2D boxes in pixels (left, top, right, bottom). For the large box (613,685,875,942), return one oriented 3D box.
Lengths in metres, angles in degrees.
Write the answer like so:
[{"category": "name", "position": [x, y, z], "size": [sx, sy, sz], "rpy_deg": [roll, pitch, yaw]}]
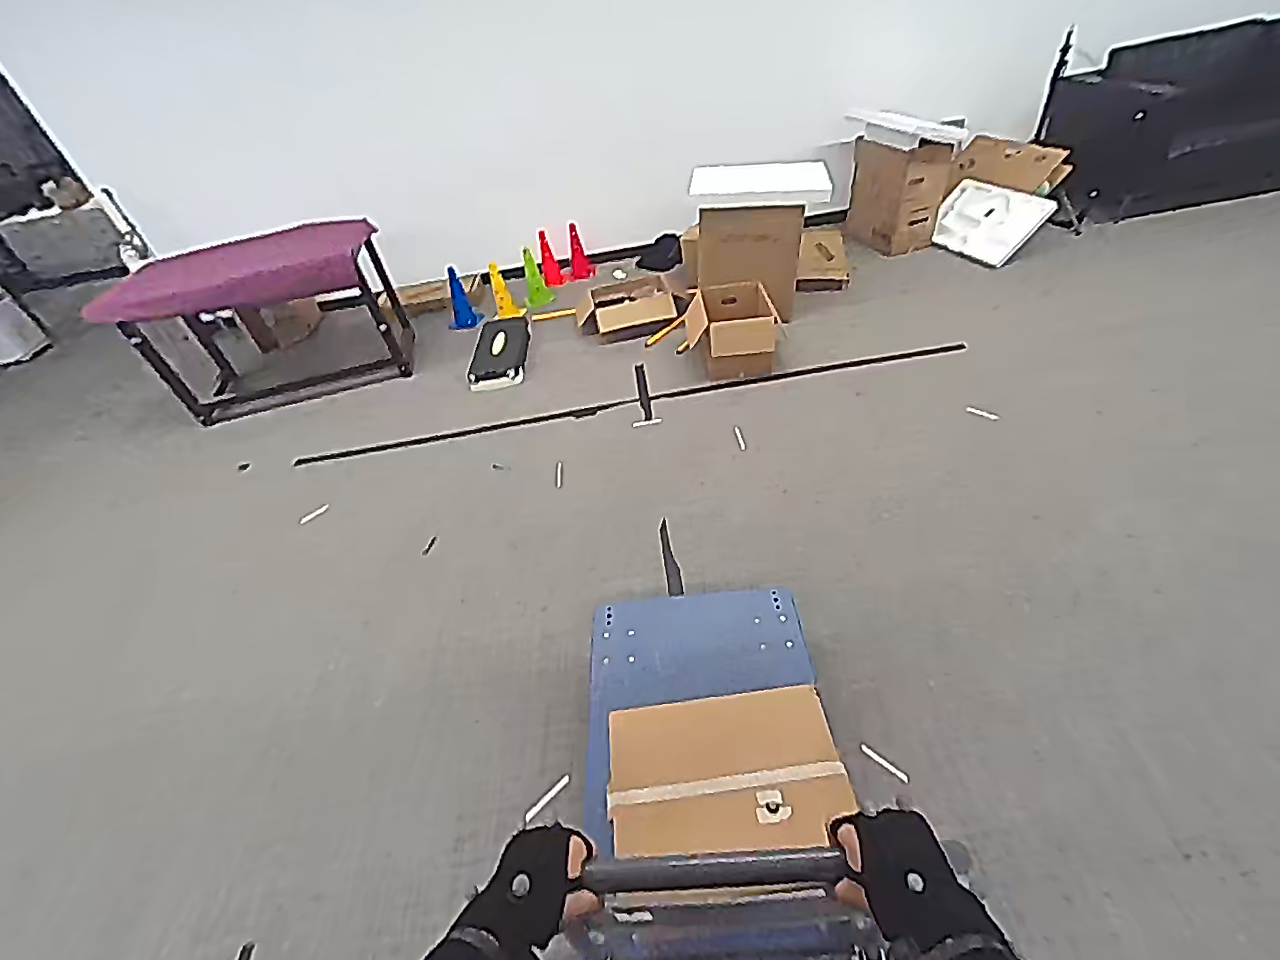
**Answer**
[{"category": "large box", "position": [0.172, 0.643, 1.046], "size": [0.408, 0.320, 0.320], "rpy_deg": [-8, 42, 0]}]
